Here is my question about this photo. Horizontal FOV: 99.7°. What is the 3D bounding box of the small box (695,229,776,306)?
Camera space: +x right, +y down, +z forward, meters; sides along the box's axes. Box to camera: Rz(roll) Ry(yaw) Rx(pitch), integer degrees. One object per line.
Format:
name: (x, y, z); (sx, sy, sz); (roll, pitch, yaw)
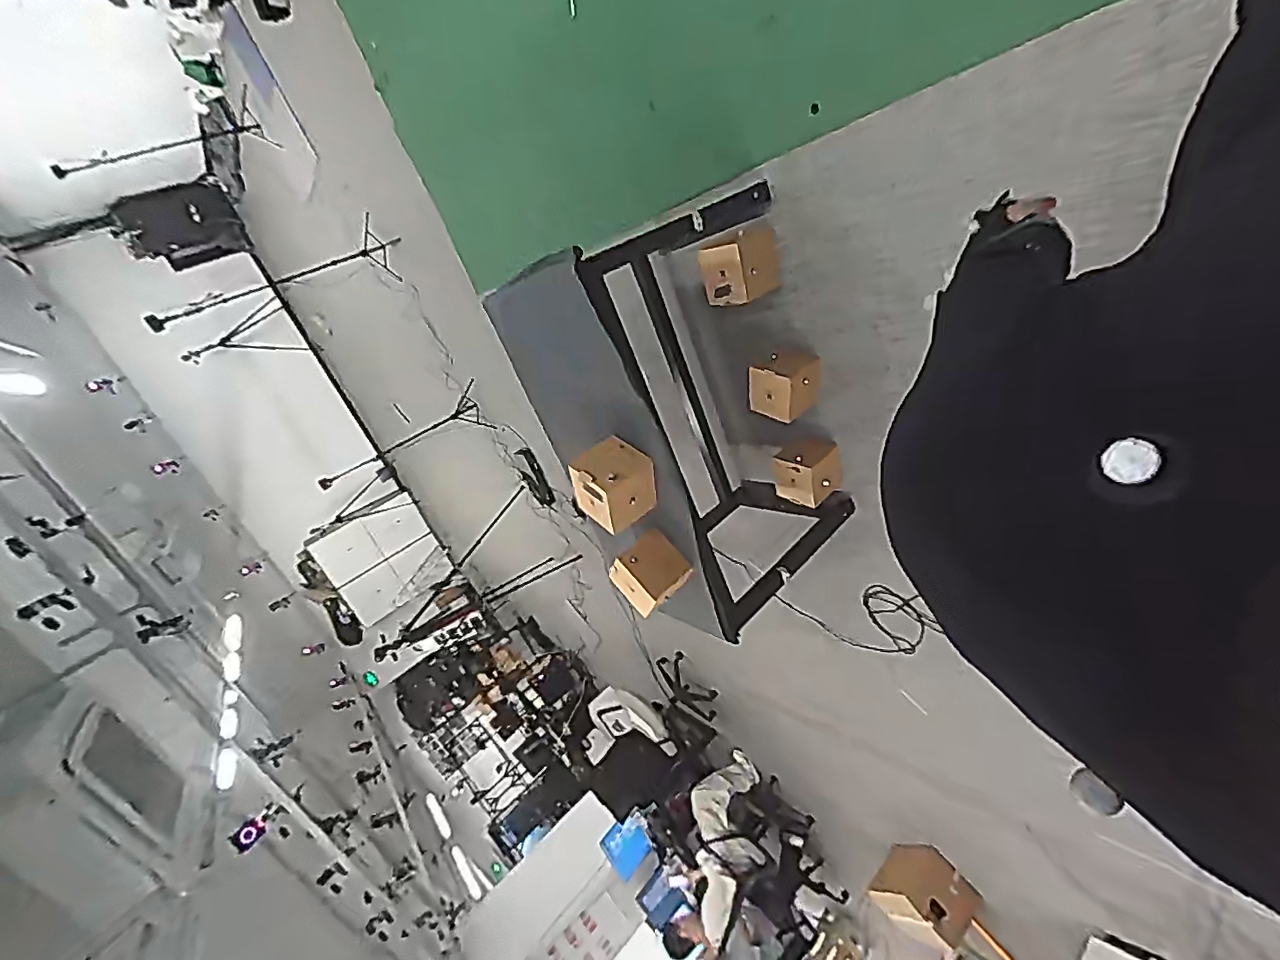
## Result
small box: (0.307, -0.668, 1.706); (0.168, 0.176, 0.179); (15, 132, 49)

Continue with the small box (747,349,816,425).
small box: (0.479, -0.321, 1.830); (0.168, 0.176, 0.179); (30, 145, 39)

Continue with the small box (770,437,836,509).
small box: (0.599, -0.028, 1.972); (0.168, 0.176, 0.179); (22, 139, 44)

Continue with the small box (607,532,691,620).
small box: (0.028, 0.290, 1.643); (0.179, 0.176, 0.168); (46, 151, 15)
